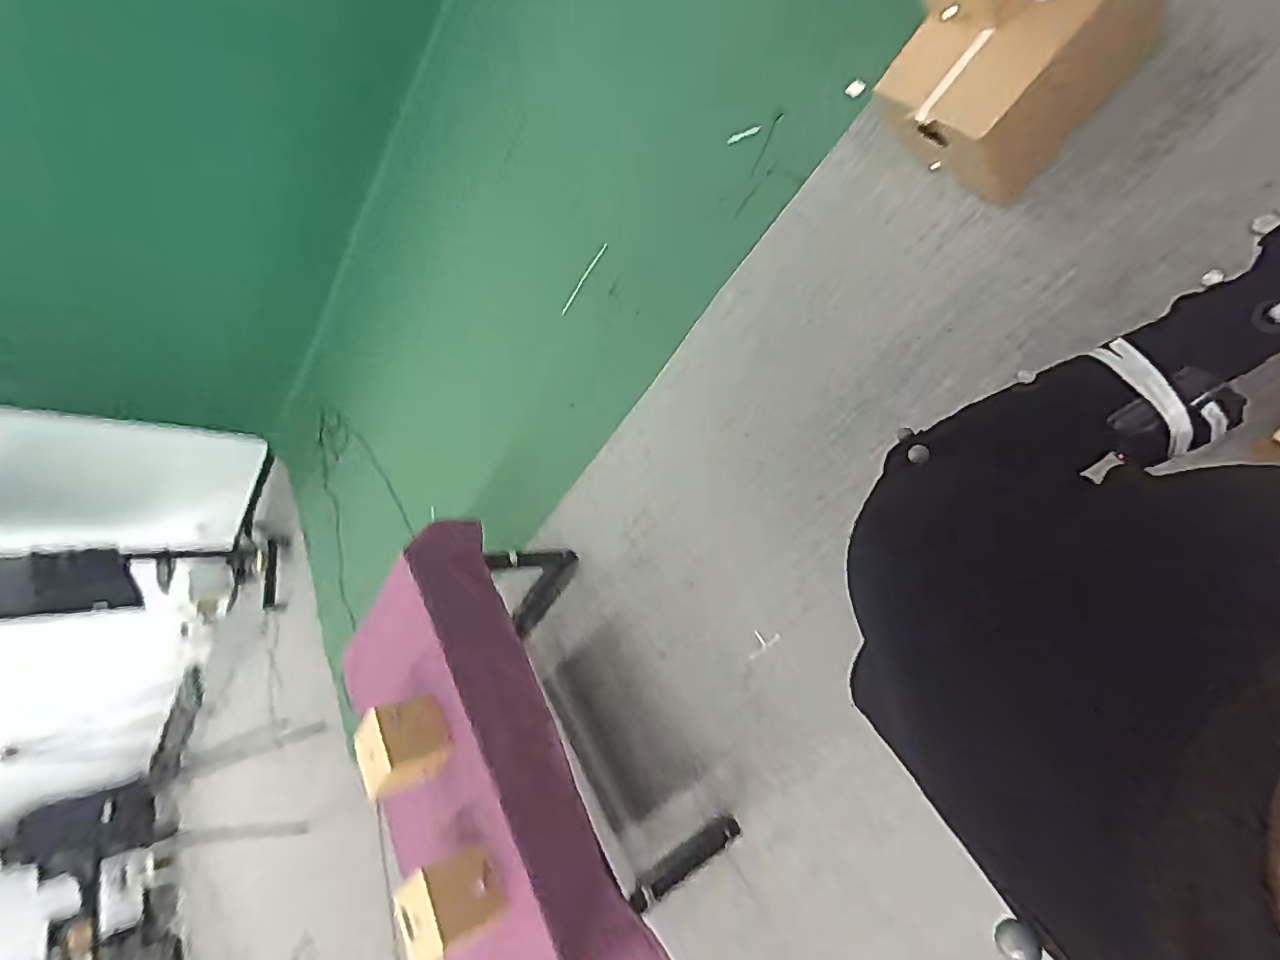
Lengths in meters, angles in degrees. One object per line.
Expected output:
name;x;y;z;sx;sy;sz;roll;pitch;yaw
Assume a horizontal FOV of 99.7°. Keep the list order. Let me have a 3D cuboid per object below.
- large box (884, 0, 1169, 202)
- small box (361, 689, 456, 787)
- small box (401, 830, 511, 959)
large box;0.847;-0.932;1.209;0.408;0.320;0.320;-50;56;25
small box;-0.636;0.698;1.488;0.168;0.176;0.179;-53;55;26
small box;-0.436;0.979;1.286;0.179;0.176;0.168;-51;56;25
